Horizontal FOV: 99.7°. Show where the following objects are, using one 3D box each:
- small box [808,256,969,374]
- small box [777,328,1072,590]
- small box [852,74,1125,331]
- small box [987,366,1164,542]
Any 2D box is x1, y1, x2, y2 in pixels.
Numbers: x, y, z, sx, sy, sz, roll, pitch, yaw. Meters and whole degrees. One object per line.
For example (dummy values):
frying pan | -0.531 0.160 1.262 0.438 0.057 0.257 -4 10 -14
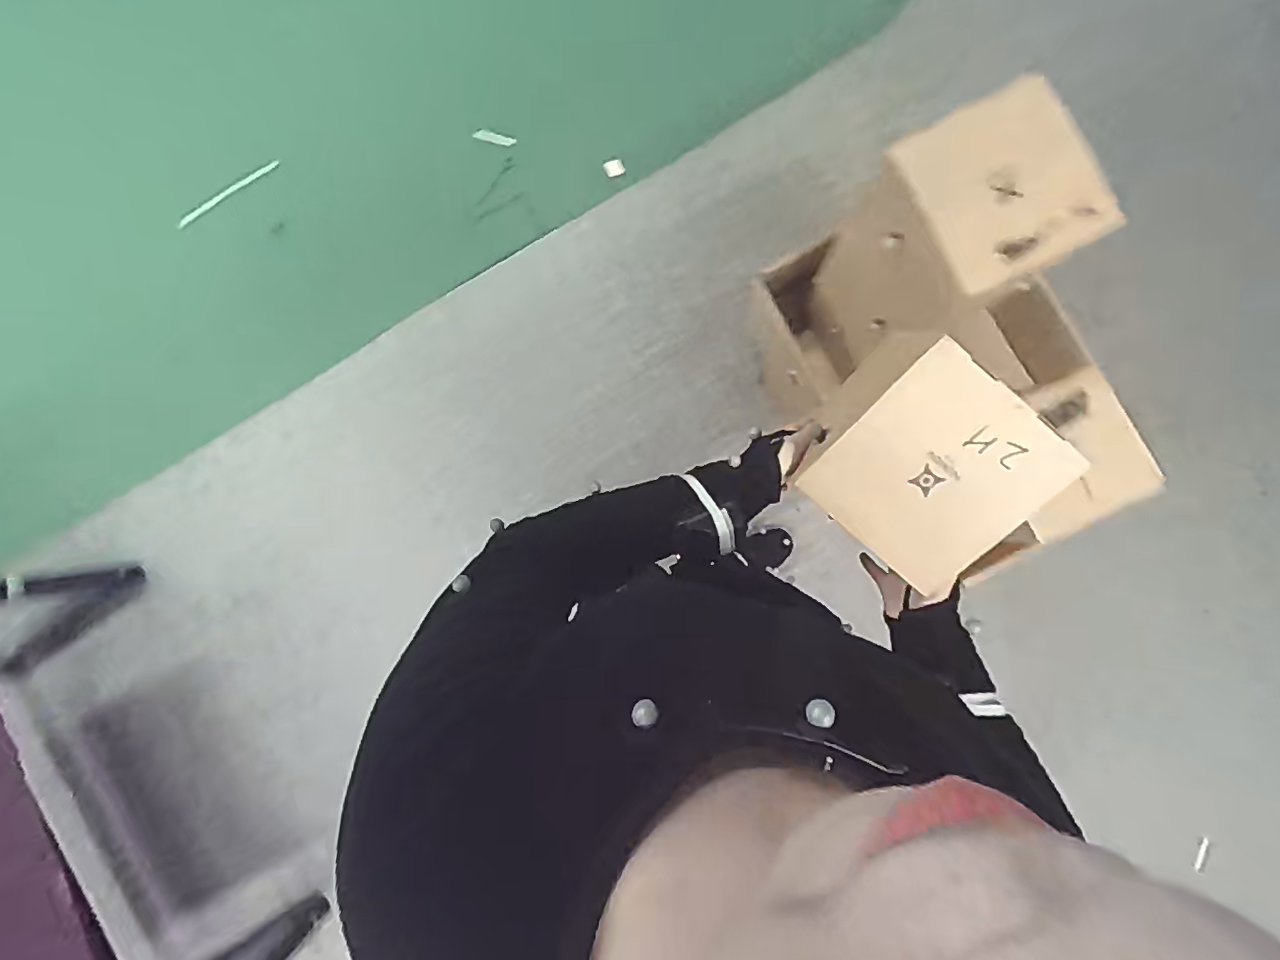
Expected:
small box | 0.416 -0.286 0.941 0.168 0.176 0.179 -26 87 3
small box | 0.257 -0.031 0.541 0.168 0.176 0.179 40 109 -2
small box | 0.370 -0.291 0.615 0.168 0.176 0.179 -25 85 4
small box | 0.538 -0.028 0.749 0.168 0.176 0.179 -25 86 3
